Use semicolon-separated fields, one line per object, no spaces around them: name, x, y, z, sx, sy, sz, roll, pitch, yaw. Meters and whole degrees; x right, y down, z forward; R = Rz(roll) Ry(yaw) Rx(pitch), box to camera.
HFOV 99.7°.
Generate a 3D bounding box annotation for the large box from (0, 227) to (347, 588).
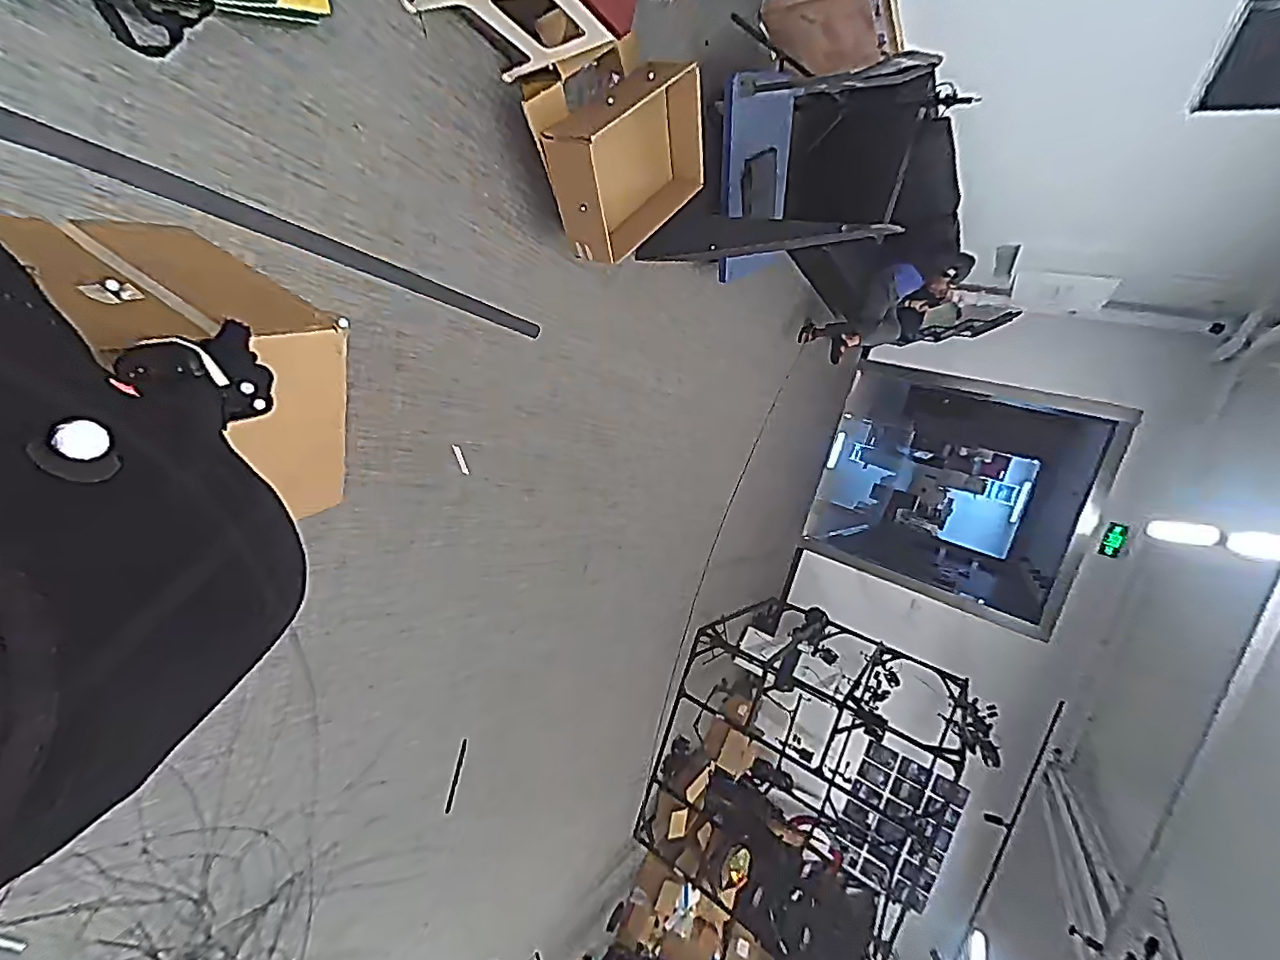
large box;-0.697;-0.125;0.773;0.320;0.408;0.320;-33;150;-53
